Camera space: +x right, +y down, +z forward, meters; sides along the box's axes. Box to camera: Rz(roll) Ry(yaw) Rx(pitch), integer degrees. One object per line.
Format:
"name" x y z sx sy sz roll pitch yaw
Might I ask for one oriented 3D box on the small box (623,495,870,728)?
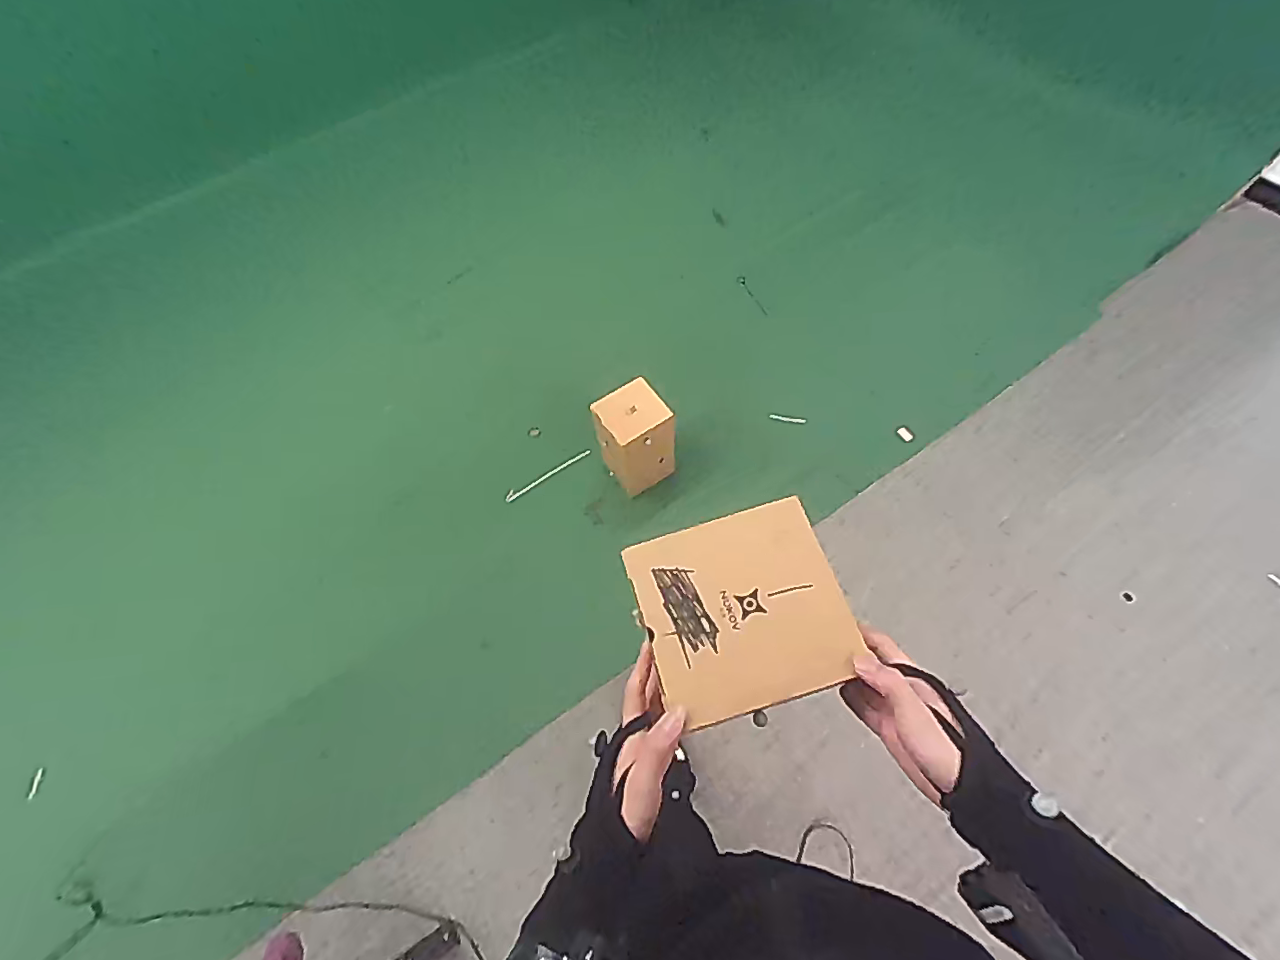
"small box" 0.095 0.142 0.544 0.179 0.176 0.168 -17 64 -2

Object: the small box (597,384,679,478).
"small box" -0.003 -0.138 1.562 0.179 0.176 0.168 -32 64 -11

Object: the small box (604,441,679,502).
"small box" 0.007 -0.063 1.706 0.179 0.176 0.168 -31 63 -12
